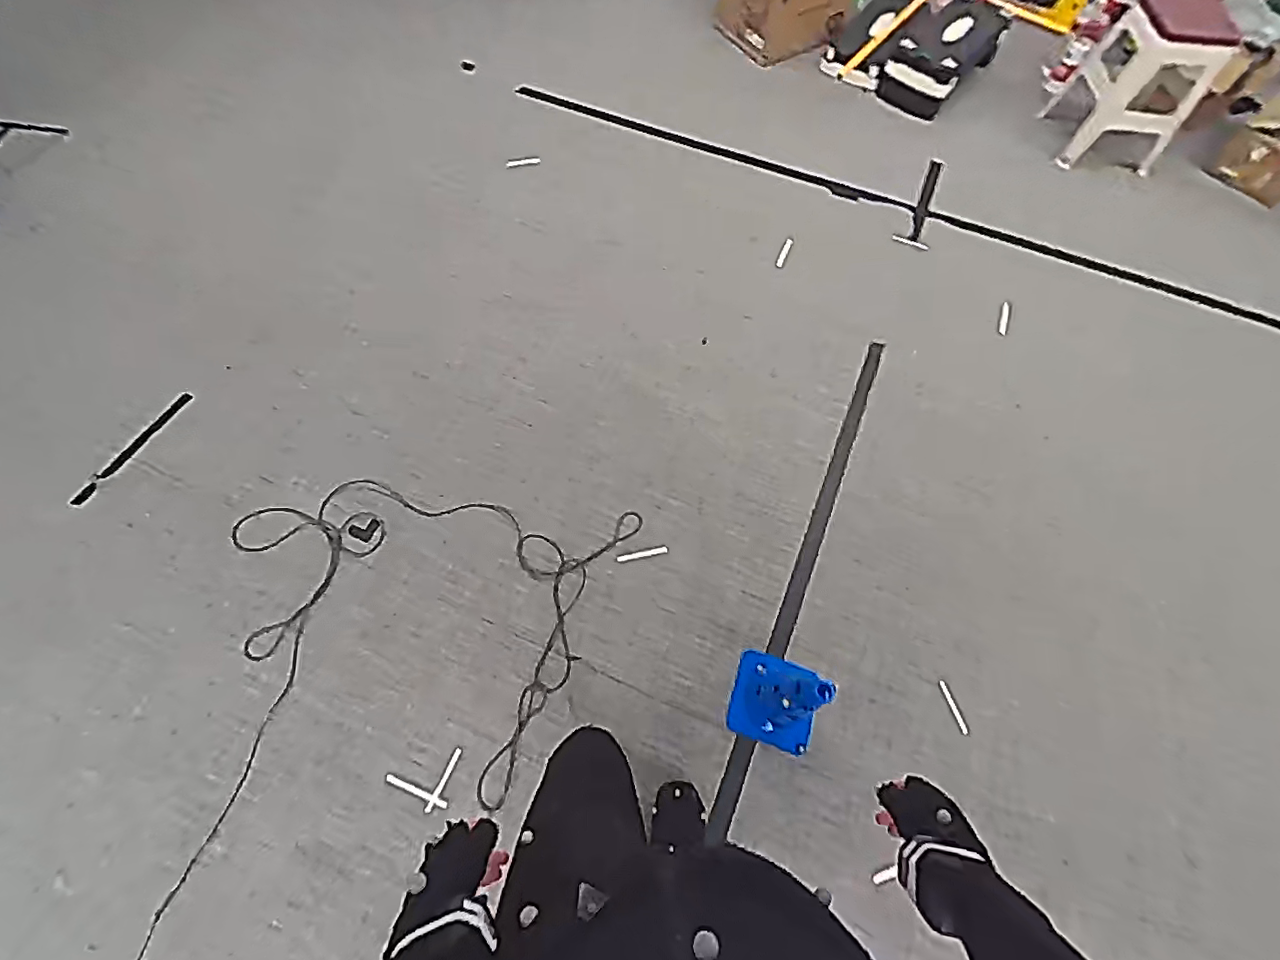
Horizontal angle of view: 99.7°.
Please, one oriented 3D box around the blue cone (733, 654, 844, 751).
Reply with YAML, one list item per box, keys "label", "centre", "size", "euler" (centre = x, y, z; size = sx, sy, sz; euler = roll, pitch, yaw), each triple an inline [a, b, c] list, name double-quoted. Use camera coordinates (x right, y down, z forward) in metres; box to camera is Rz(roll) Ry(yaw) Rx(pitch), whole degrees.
- label: "blue cone"
  centre: [0.341, 0.469, 1.172]
  size: [0.192, 0.380, 0.193]
  euler: [20, 66, 6]
